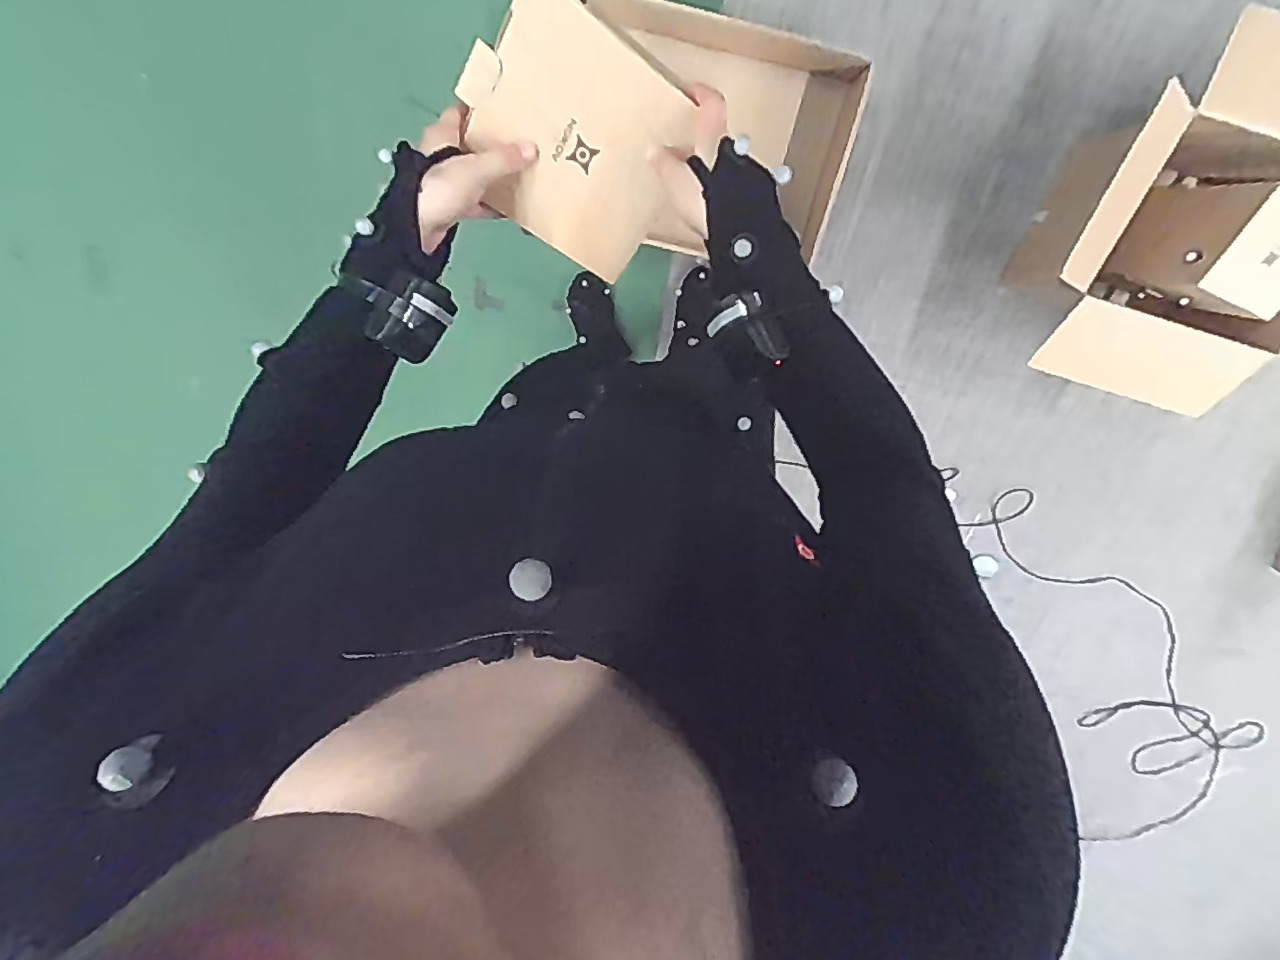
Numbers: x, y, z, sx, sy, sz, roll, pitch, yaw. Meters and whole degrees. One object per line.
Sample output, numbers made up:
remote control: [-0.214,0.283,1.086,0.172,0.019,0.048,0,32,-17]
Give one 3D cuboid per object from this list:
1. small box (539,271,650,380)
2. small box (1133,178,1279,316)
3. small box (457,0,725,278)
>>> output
small box: [-0.101,-0.367,1.284,0.176,0.168,0.179,33,88,-41]
small box: [1.081,-0.429,1.000,0.168,0.176,0.179,19,114,-8]
small box: [-0.044,-0.336,0.517,0.179,0.176,0.168,26,125,-22]
